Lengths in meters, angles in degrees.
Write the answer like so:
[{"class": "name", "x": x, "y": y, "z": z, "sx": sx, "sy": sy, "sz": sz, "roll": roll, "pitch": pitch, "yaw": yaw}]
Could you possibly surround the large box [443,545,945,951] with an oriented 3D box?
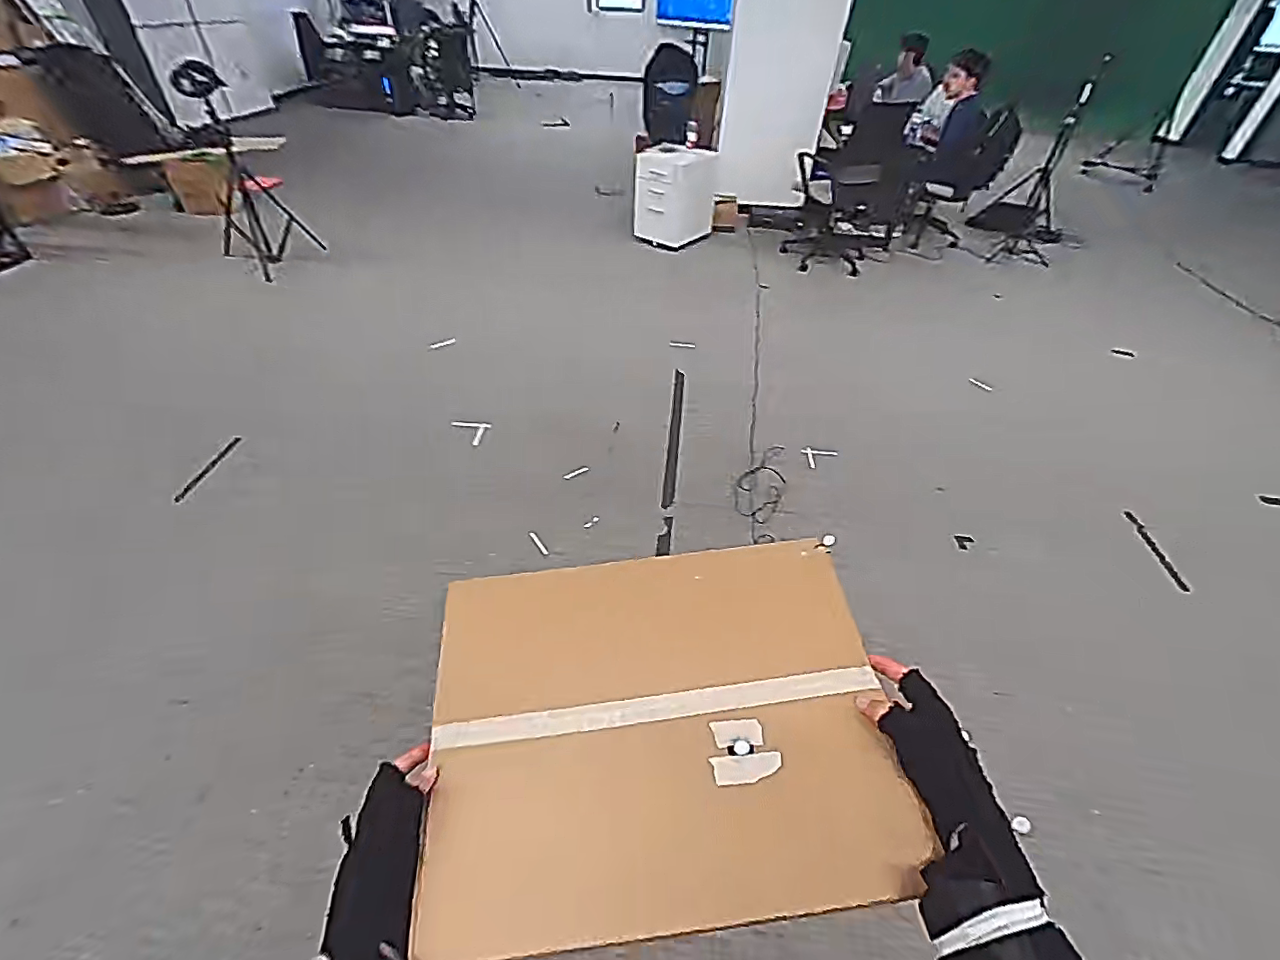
[{"class": "large box", "x": 0.034, "y": 0.307, "z": 0.623, "sx": 0.408, "sy": 0.320, "sz": 0.320, "roll": -6, "pitch": 52, "yaw": -2}]
